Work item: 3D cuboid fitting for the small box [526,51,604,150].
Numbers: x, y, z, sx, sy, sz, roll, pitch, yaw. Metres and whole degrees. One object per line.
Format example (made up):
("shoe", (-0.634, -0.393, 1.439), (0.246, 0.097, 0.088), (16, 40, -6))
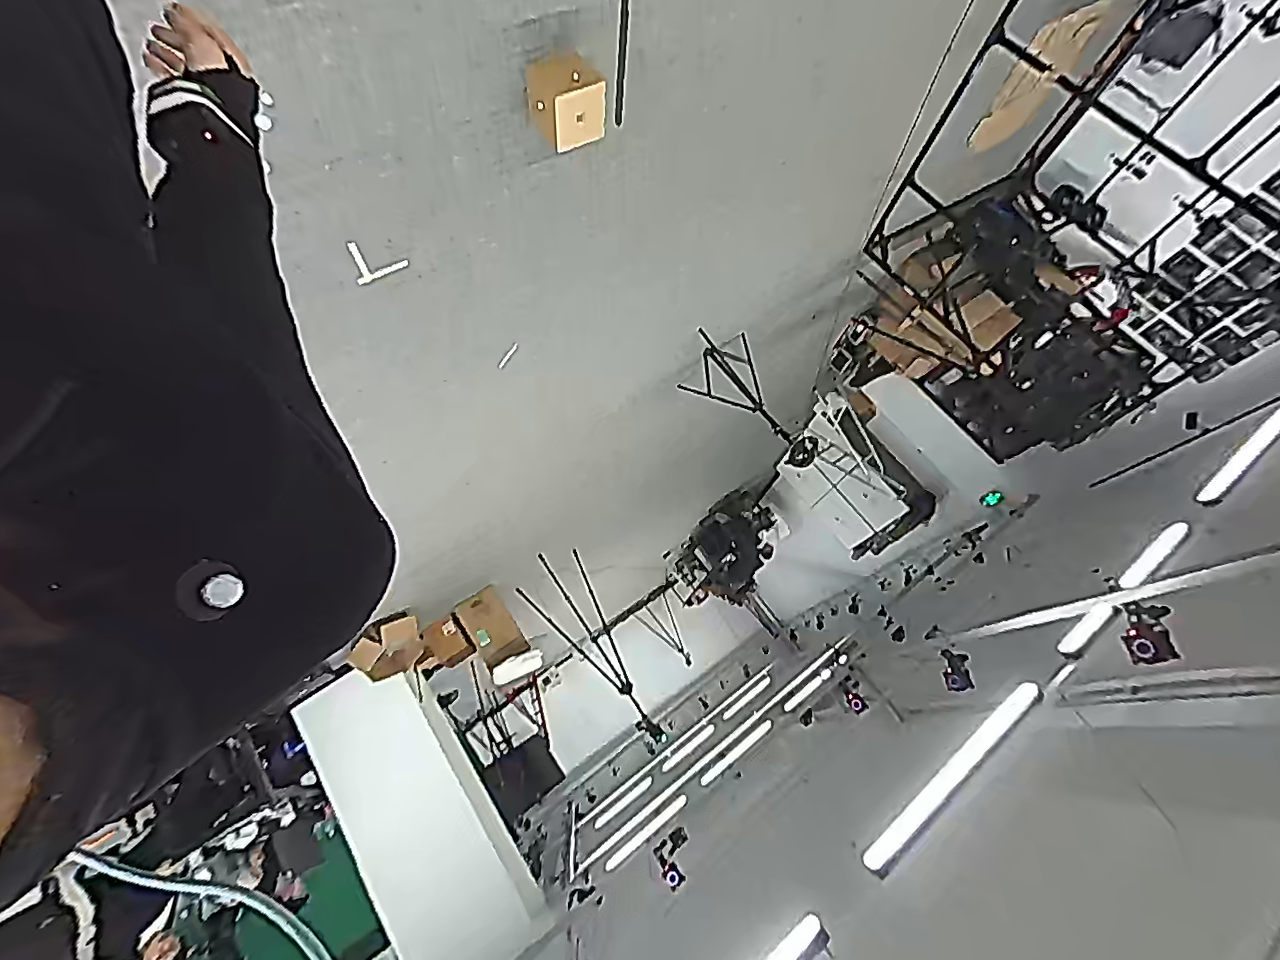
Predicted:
("small box", (-0.228, -1.138, 1.621), (0.179, 0.176, 0.168), (-33, 162, -18))
